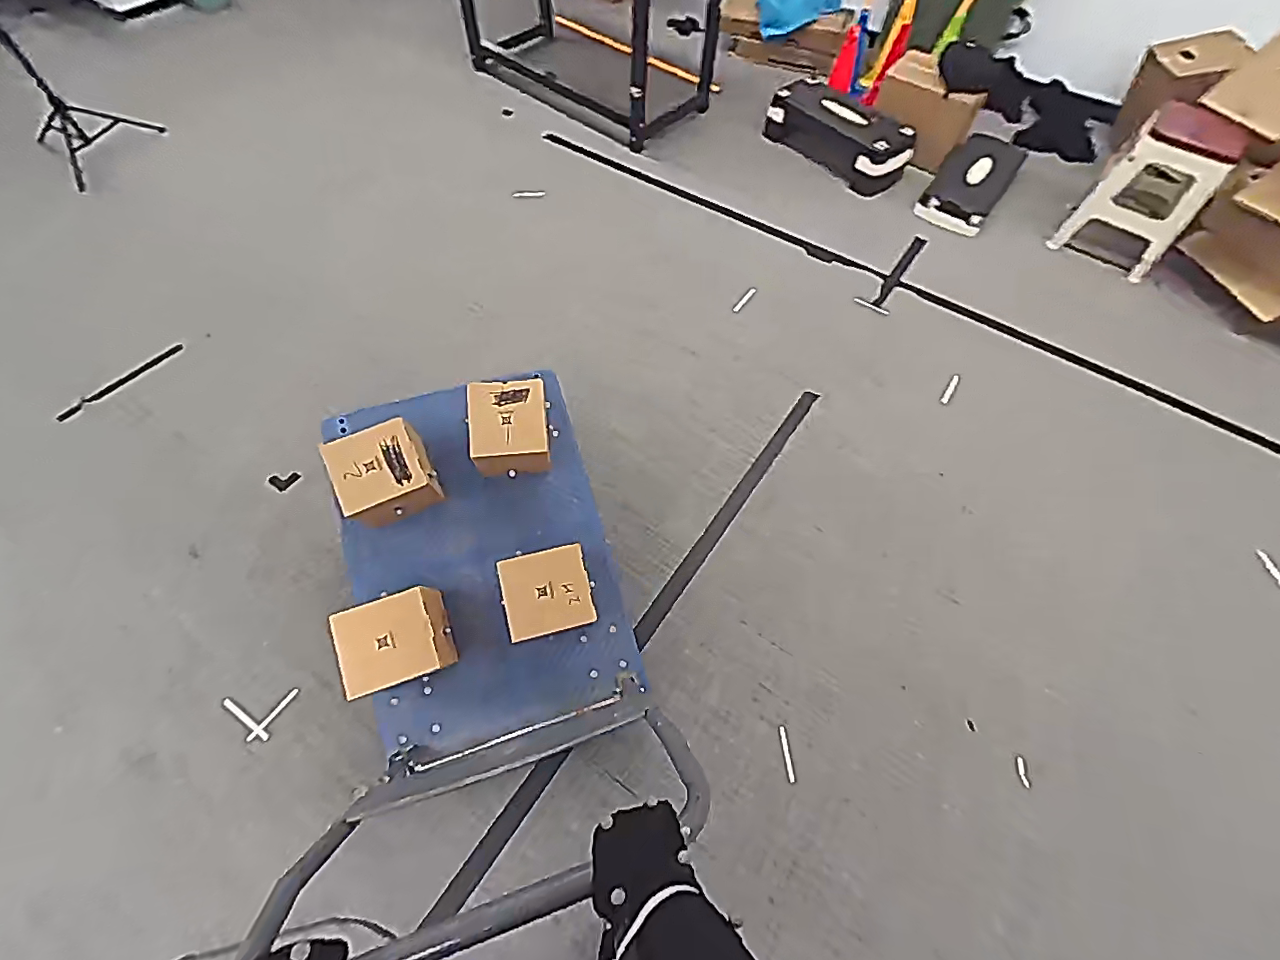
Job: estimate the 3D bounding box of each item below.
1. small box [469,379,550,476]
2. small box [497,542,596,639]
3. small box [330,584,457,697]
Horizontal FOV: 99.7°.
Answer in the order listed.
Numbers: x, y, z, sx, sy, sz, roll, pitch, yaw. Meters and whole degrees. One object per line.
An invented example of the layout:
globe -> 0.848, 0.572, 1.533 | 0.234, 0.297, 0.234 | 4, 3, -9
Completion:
small box -> -0.300, -0.119, 1.257 | 0.168, 0.176, 0.179 | -5, 76, -9
small box -> -0.198, 0.243, 1.169 | 0.179, 0.176, 0.168 | -12, 77, -10
small box -> -0.497, 0.326, 1.108 | 0.179, 0.176, 0.168 | -18, 78, -13
